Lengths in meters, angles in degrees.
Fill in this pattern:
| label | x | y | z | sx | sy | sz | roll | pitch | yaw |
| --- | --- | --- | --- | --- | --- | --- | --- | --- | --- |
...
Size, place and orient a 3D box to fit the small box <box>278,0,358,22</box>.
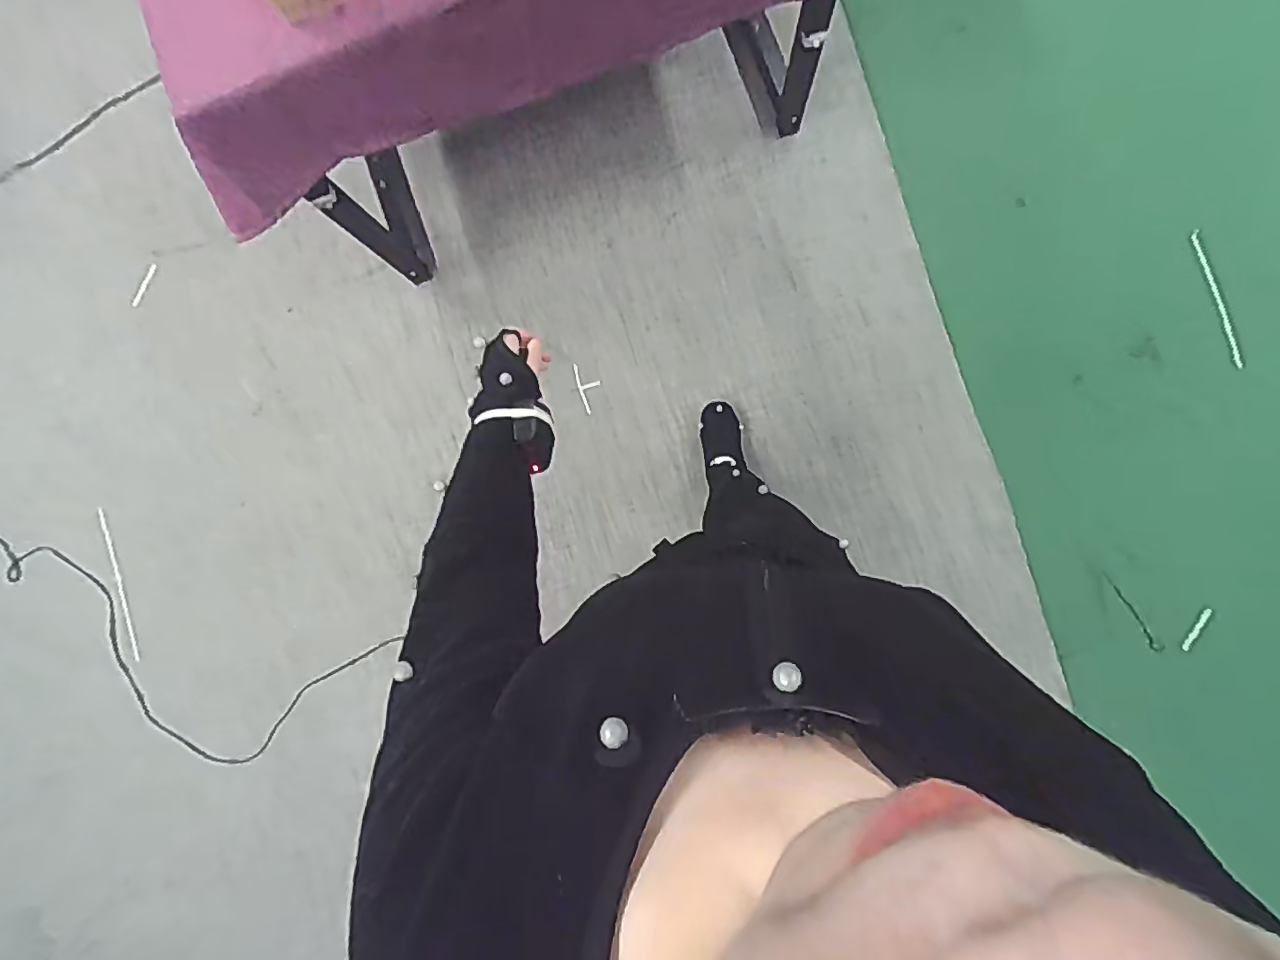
| label | x | y | z | sx | sy | sz | roll | pitch | yaw |
| --- | --- | --- | --- | --- | --- | --- | --- | --- | --- |
| small box | -0.502 | -0.822 | 0.769 | 0.168 | 0.176 | 0.179 | -18 | 87 | 5 |
